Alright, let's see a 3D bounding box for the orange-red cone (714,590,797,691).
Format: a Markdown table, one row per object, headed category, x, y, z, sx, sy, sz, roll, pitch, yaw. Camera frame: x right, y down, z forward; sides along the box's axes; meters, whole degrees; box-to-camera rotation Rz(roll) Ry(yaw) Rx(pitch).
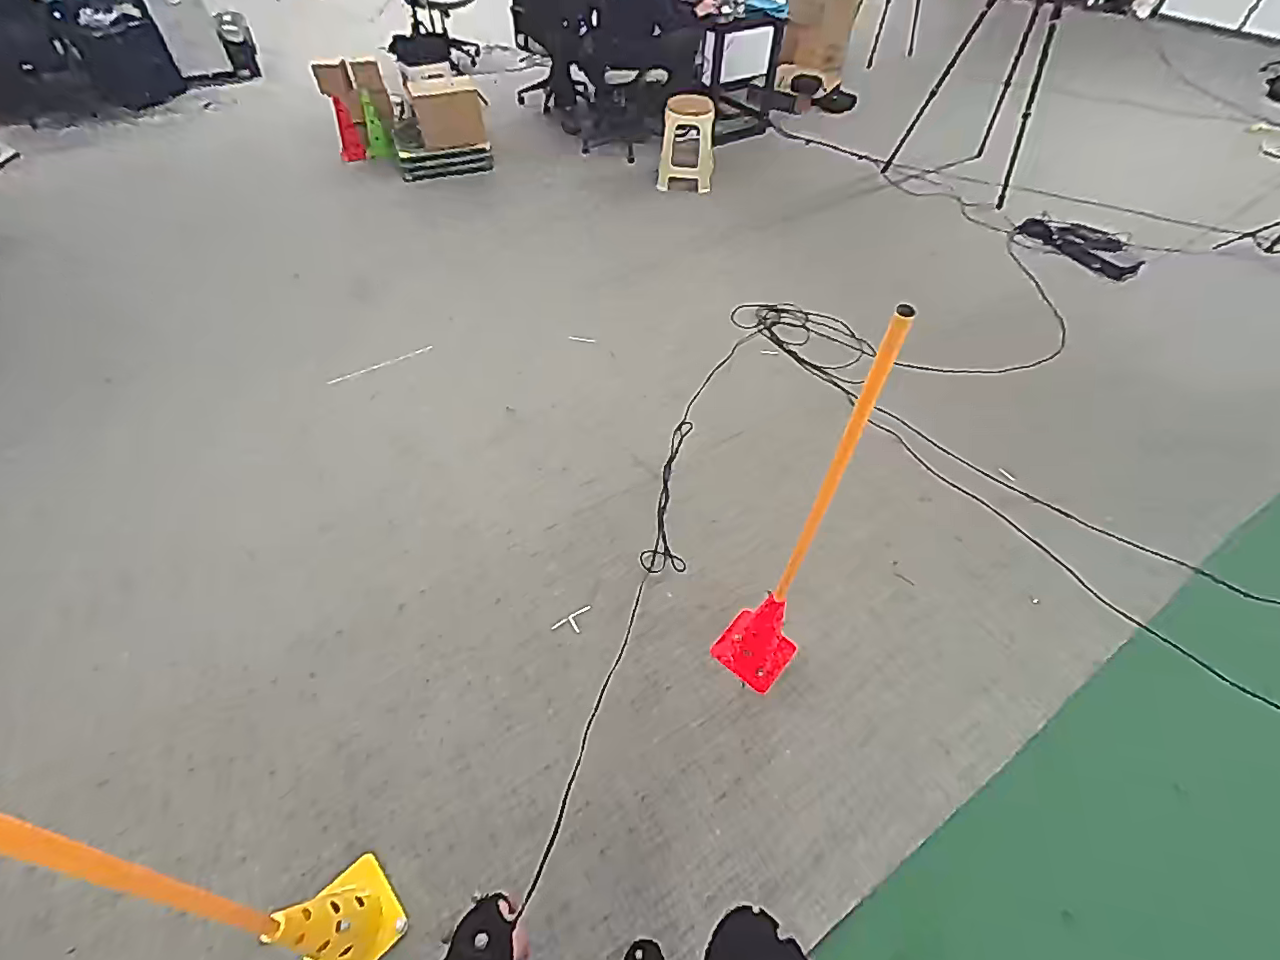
| category | x | y | z | sx | sy | sz | roll | pitch | yaw |
| --- | --- | --- | --- | --- | --- | --- | --- | --- | --- |
| orange-red cone | 0.354 | 0.400 | 1.494 | 0.198 | 0.360 | 0.199 | 37 | 58 | 24 |
